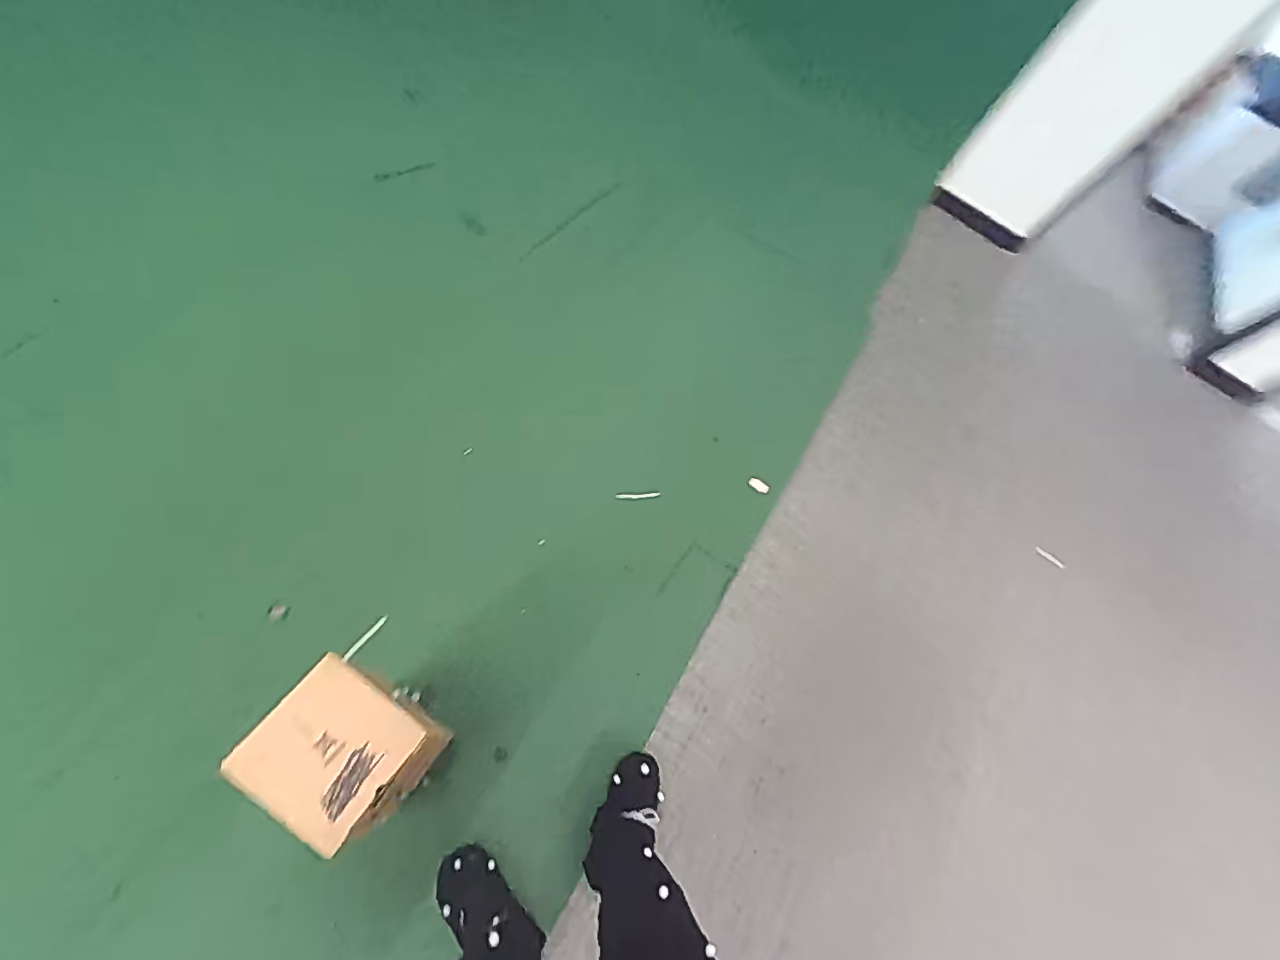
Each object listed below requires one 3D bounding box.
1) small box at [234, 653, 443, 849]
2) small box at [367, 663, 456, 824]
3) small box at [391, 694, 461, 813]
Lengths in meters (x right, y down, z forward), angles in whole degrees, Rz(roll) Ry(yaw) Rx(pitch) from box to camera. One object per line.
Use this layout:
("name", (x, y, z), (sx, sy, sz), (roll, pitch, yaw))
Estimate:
("small box", (-0.402, 0.370, 0.762), (0.179, 0.176, 0.168), (35, 62, 4))
("small box", (-0.434, 0.438, 0.909), (0.179, 0.176, 0.168), (36, 63, 4))
("small box", (-0.471, 0.509, 1.052), (0.179, 0.176, 0.168), (36, 63, 1))
